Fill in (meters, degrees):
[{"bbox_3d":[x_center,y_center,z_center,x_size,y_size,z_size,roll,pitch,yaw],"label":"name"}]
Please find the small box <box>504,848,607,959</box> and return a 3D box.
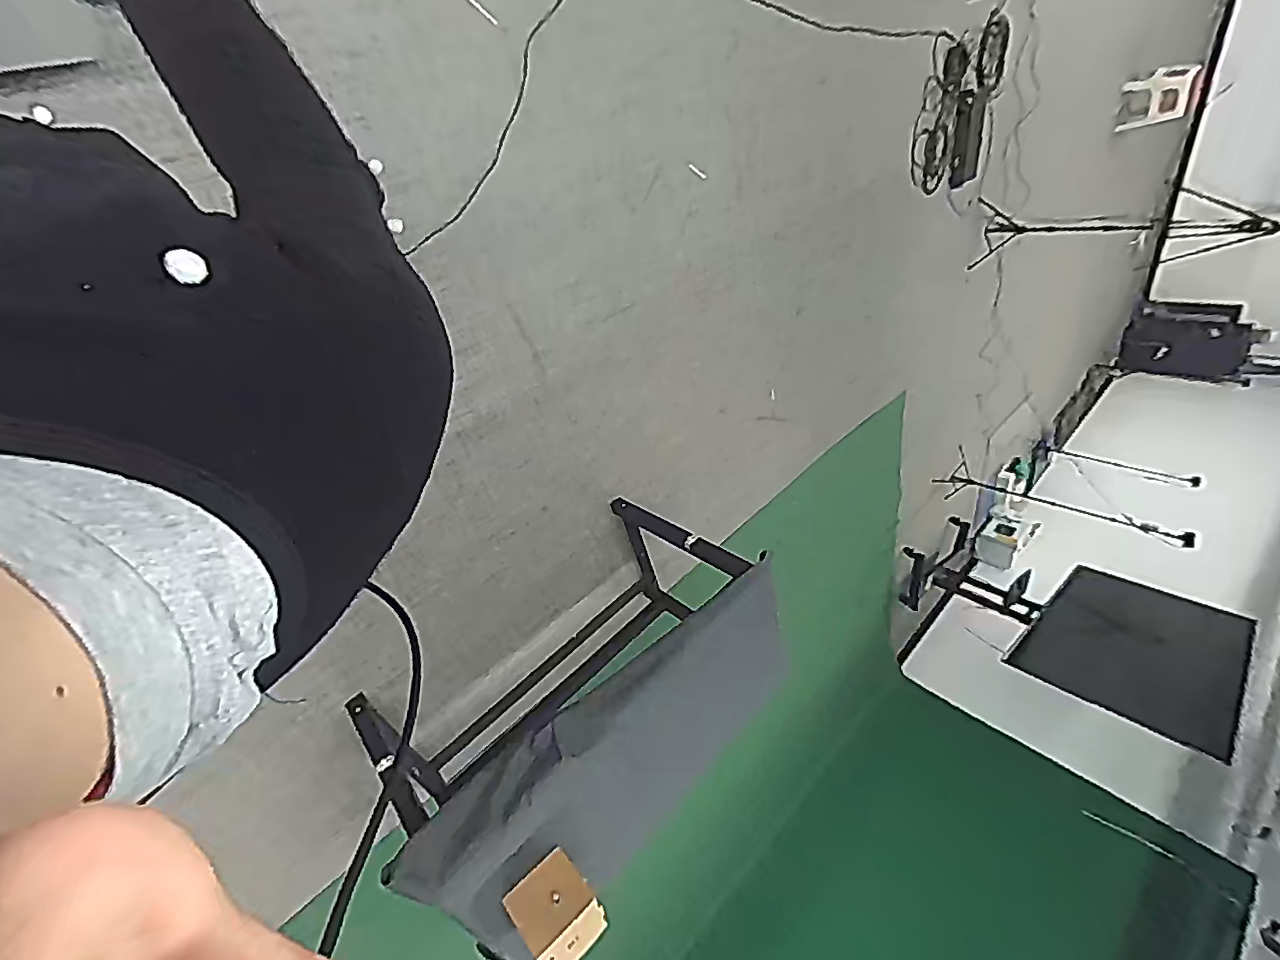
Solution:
[{"bbox_3d":[-0.212,1.089,1.366,0.179,0.176,0.168,-31,126,-31],"label":"small box"}]
